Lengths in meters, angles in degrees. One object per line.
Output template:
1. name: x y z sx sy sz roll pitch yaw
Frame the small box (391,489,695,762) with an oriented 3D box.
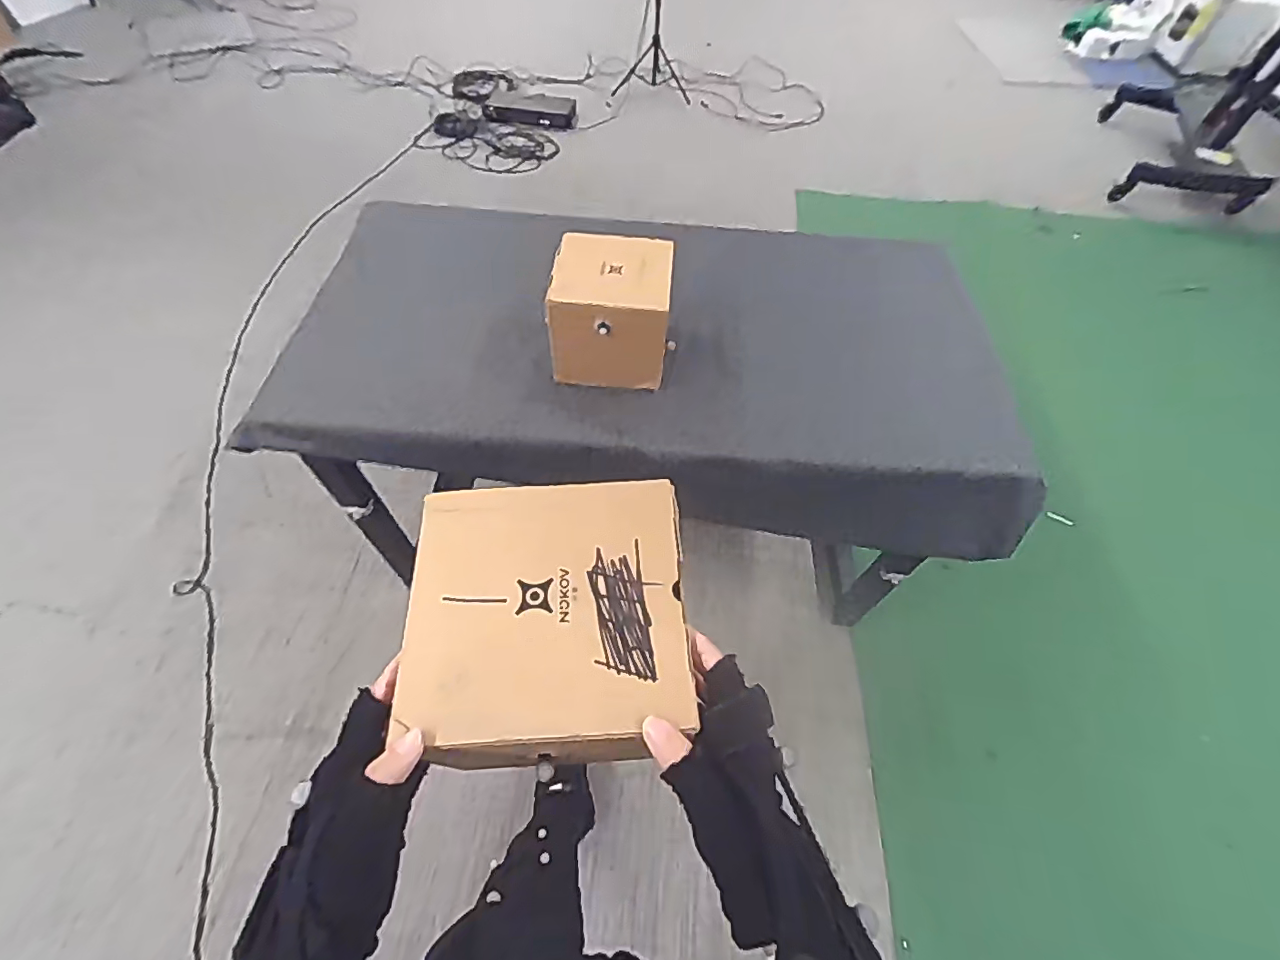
1. small box: -0.061 0.119 0.417 0.179 0.176 0.168 -2 59 -3

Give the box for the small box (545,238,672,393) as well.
1. small box: -0.046 -0.258 0.865 0.179 0.176 0.168 5 57 -1
